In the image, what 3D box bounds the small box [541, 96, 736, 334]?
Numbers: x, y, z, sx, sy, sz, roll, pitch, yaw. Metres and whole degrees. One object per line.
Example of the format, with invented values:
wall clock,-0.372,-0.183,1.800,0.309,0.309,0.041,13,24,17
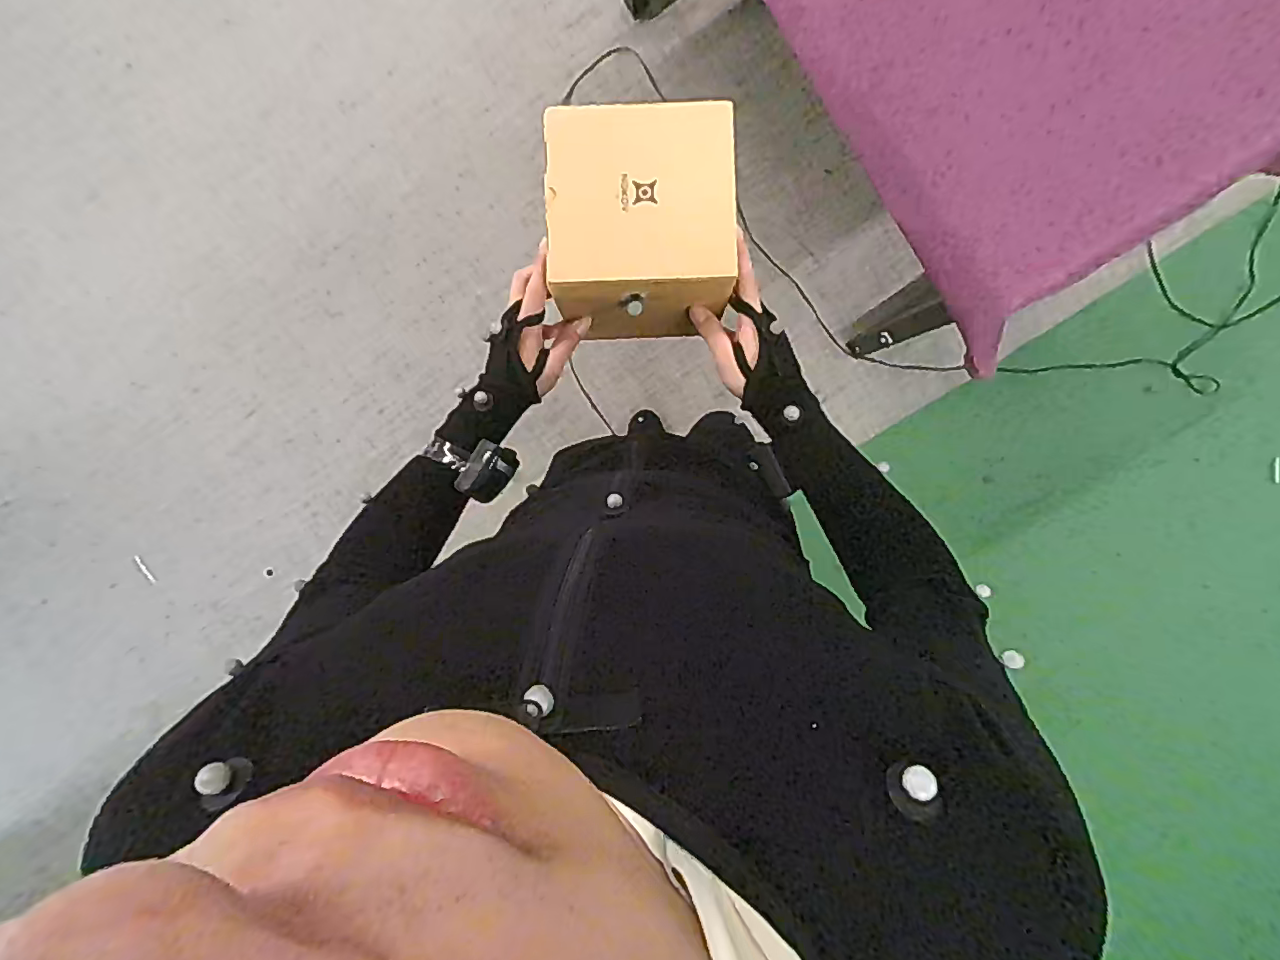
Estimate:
small box,0.000,-0.259,0.567,0.179,0.176,0.168,-2,87,3
